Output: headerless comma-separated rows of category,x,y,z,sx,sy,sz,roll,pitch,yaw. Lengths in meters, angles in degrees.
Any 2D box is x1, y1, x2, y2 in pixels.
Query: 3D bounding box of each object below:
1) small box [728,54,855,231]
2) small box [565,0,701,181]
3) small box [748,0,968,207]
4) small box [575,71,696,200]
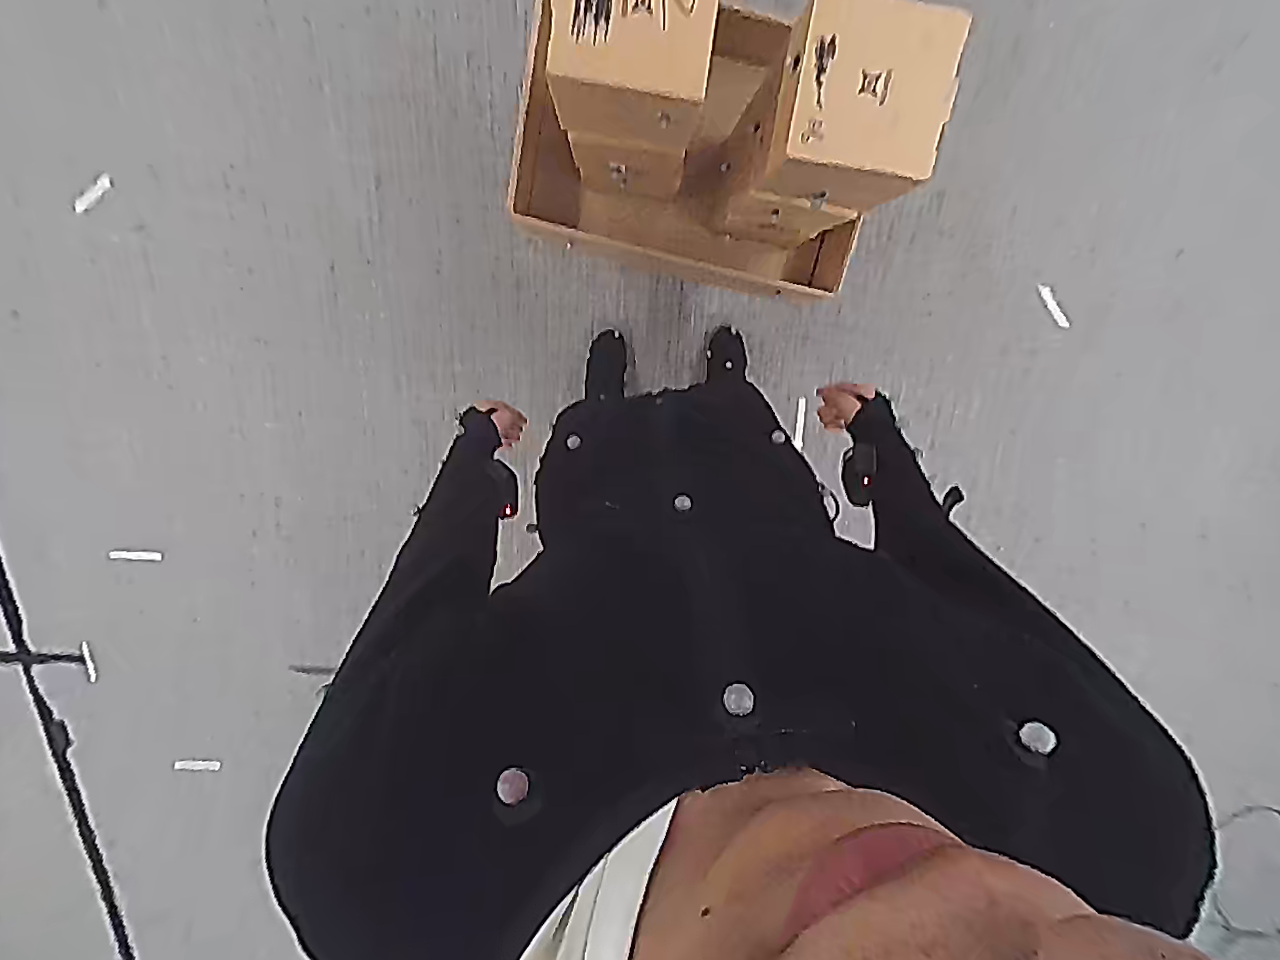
small box,0.241,-0.497,0.828,0.168,0.176,0.179,9,105,-6
small box,-0.014,-0.565,0.793,0.168,0.176,0.179,7,106,-3
small box,0.252,-0.453,0.671,0.179,0.176,0.168,7,105,-5
small box,-0.012,-0.610,0.951,0.179,0.176,0.168,8,107,-6
